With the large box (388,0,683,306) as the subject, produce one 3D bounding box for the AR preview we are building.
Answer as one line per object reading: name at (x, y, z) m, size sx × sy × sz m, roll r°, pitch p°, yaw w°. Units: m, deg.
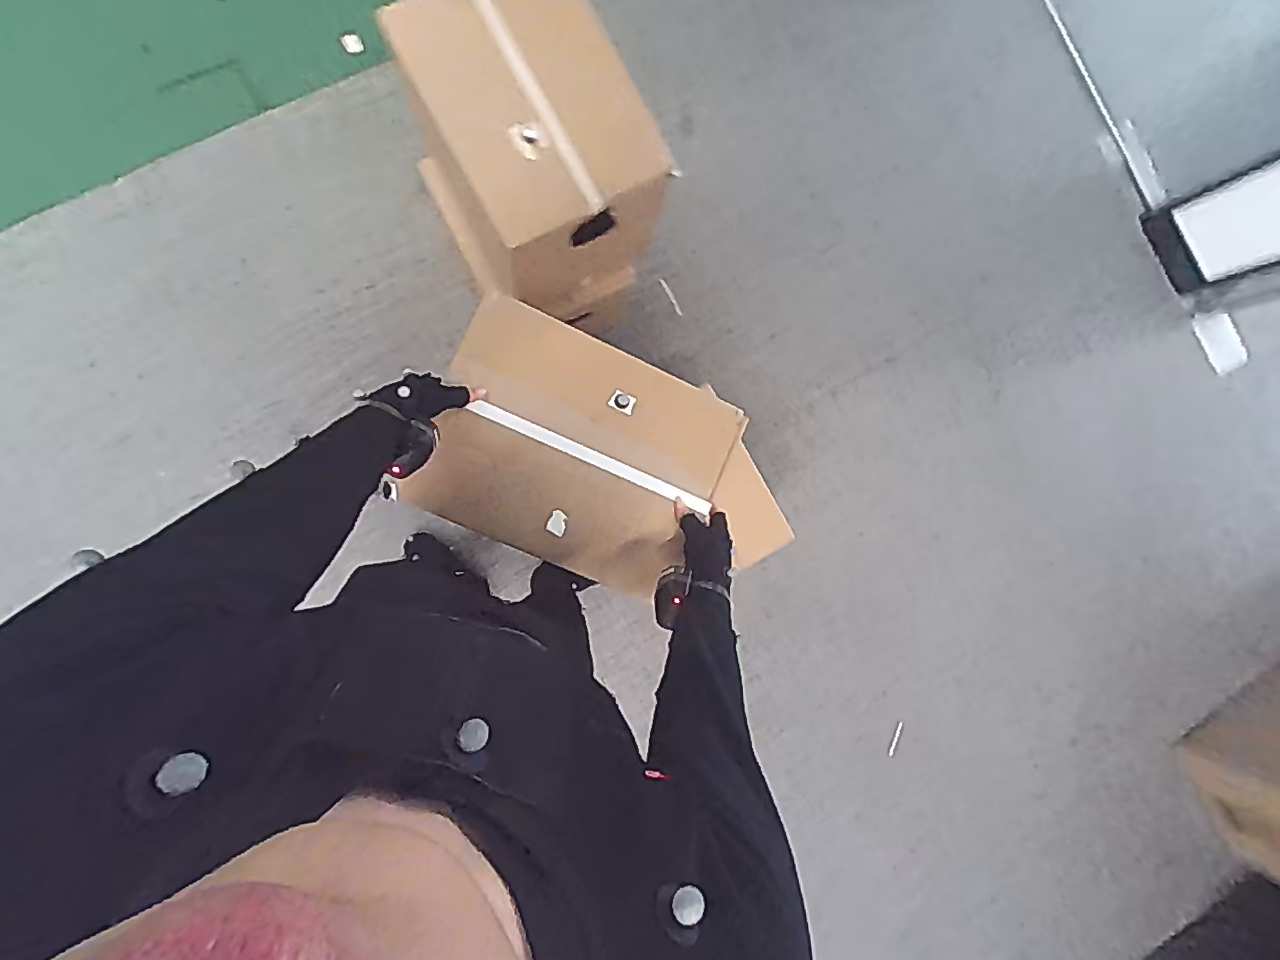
large box at (-0.184, -0.605, 0.992) m, size 0.320 × 0.320 × 0.408 m, roll -30°, pitch 94°, yaw -9°
